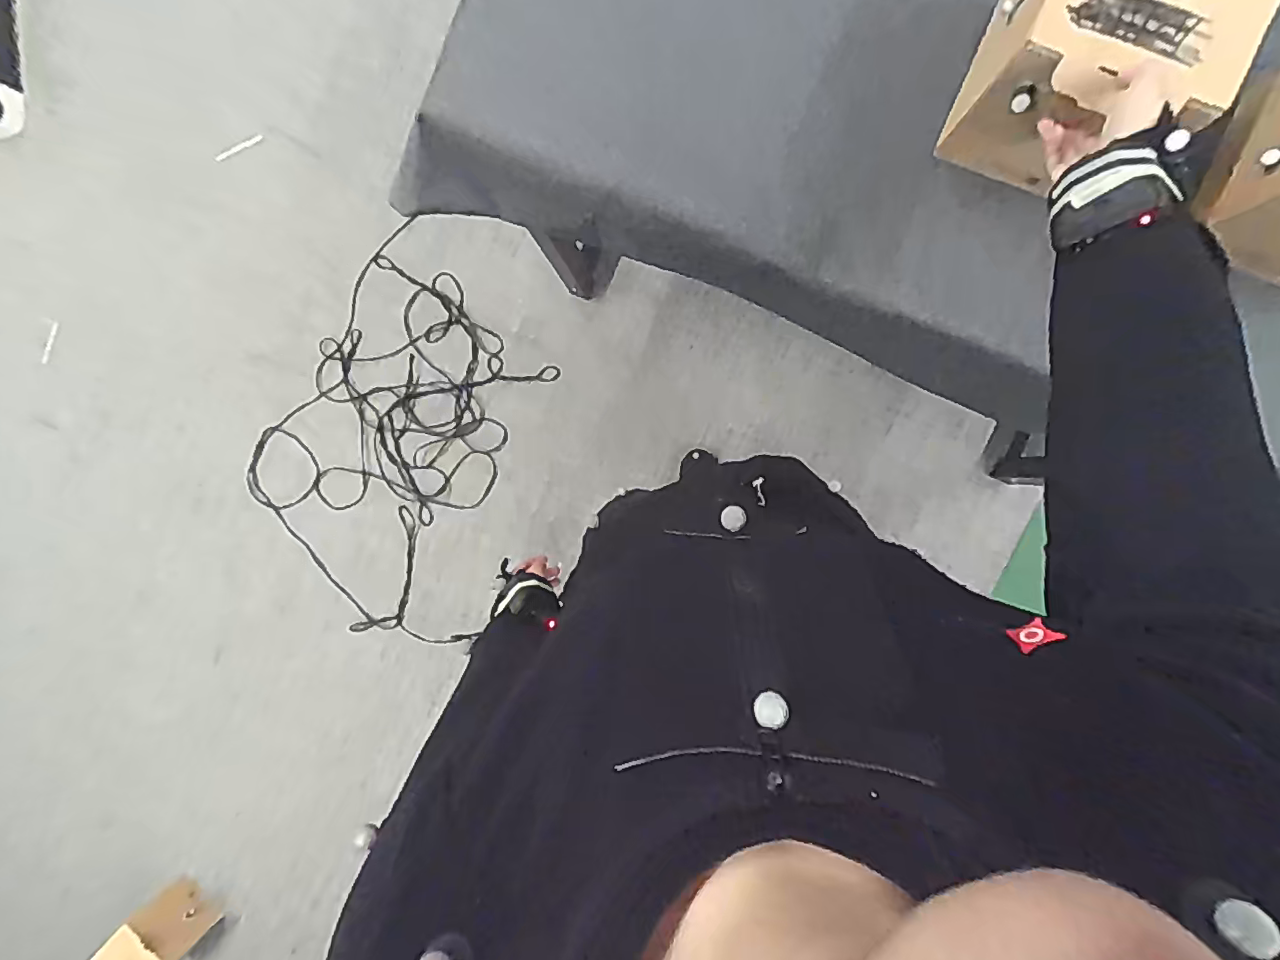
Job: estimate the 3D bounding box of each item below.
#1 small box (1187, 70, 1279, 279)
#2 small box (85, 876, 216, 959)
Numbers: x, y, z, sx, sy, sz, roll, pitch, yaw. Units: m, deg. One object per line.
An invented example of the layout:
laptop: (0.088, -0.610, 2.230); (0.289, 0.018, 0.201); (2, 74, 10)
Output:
small box: (0.671, -0.297, 0.489); (0.168, 0.176, 0.179); (22, 92, 2)
small box: (-1.282, 1.211, 1.422); (0.168, 0.176, 0.179); (43, 94, 2)
